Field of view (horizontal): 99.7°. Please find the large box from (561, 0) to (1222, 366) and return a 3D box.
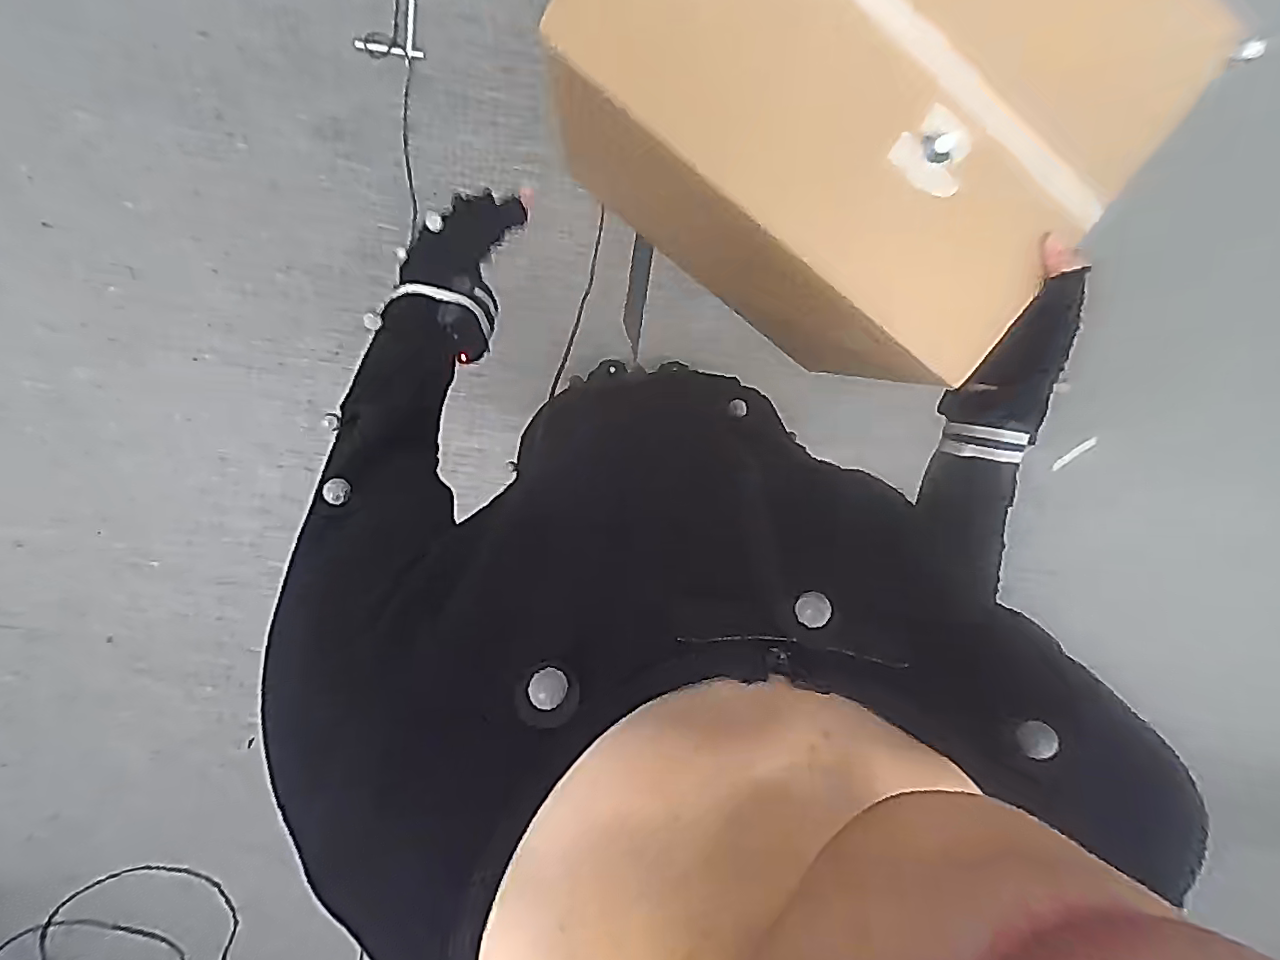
[{"bbox_3d":[0.176,-0.357,0.528,0.408,0.320,0.320,36,99,-12],"label":"large box"}]
